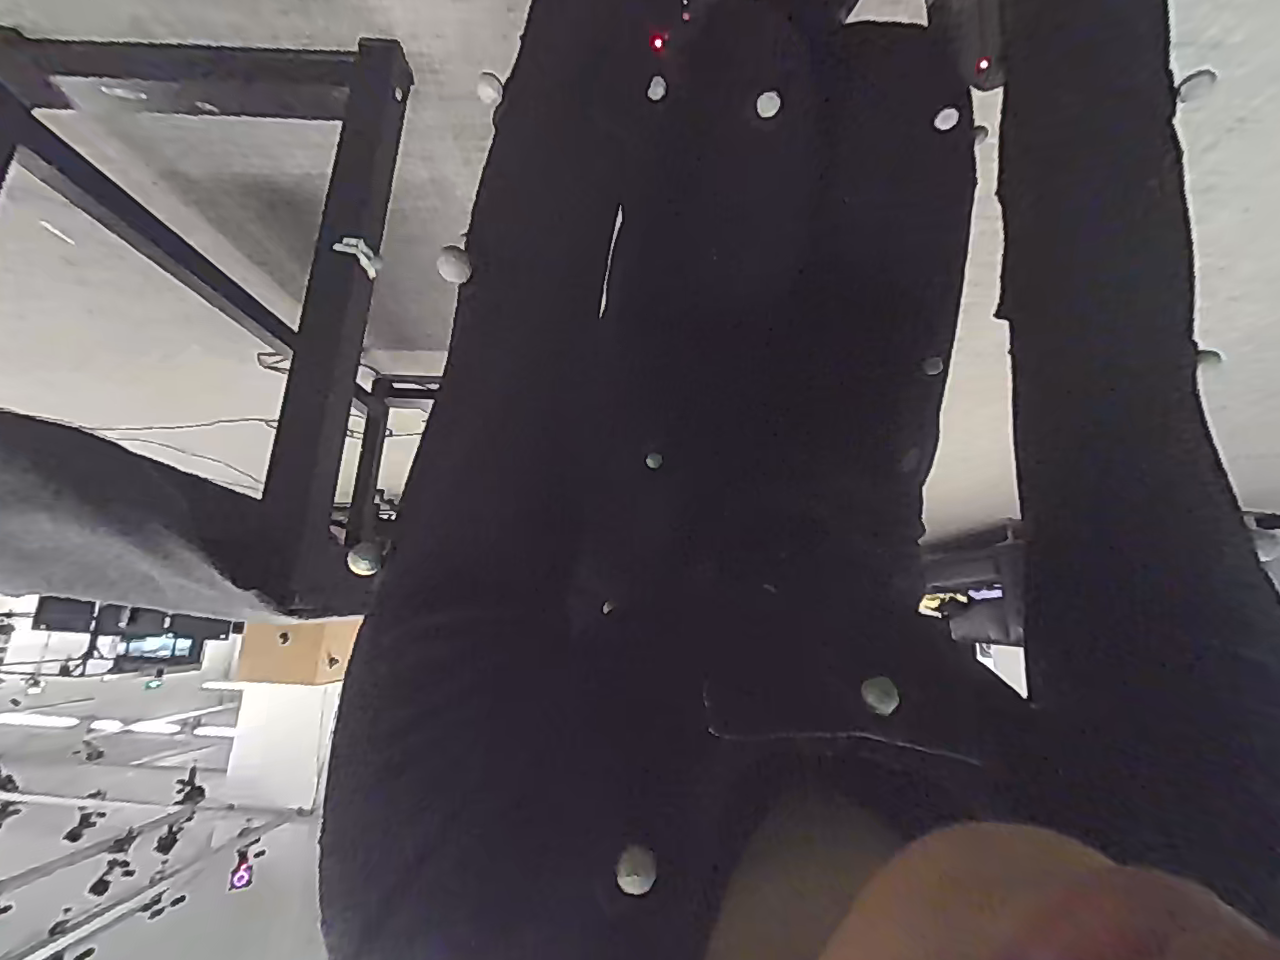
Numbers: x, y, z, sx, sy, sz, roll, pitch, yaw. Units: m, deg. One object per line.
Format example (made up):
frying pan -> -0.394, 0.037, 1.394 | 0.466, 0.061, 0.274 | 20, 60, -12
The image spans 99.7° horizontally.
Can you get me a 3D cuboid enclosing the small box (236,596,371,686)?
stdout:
small box -> -0.704, 0.337, 1.151 | 0.168, 0.176, 0.179 | 2, 166, 3
